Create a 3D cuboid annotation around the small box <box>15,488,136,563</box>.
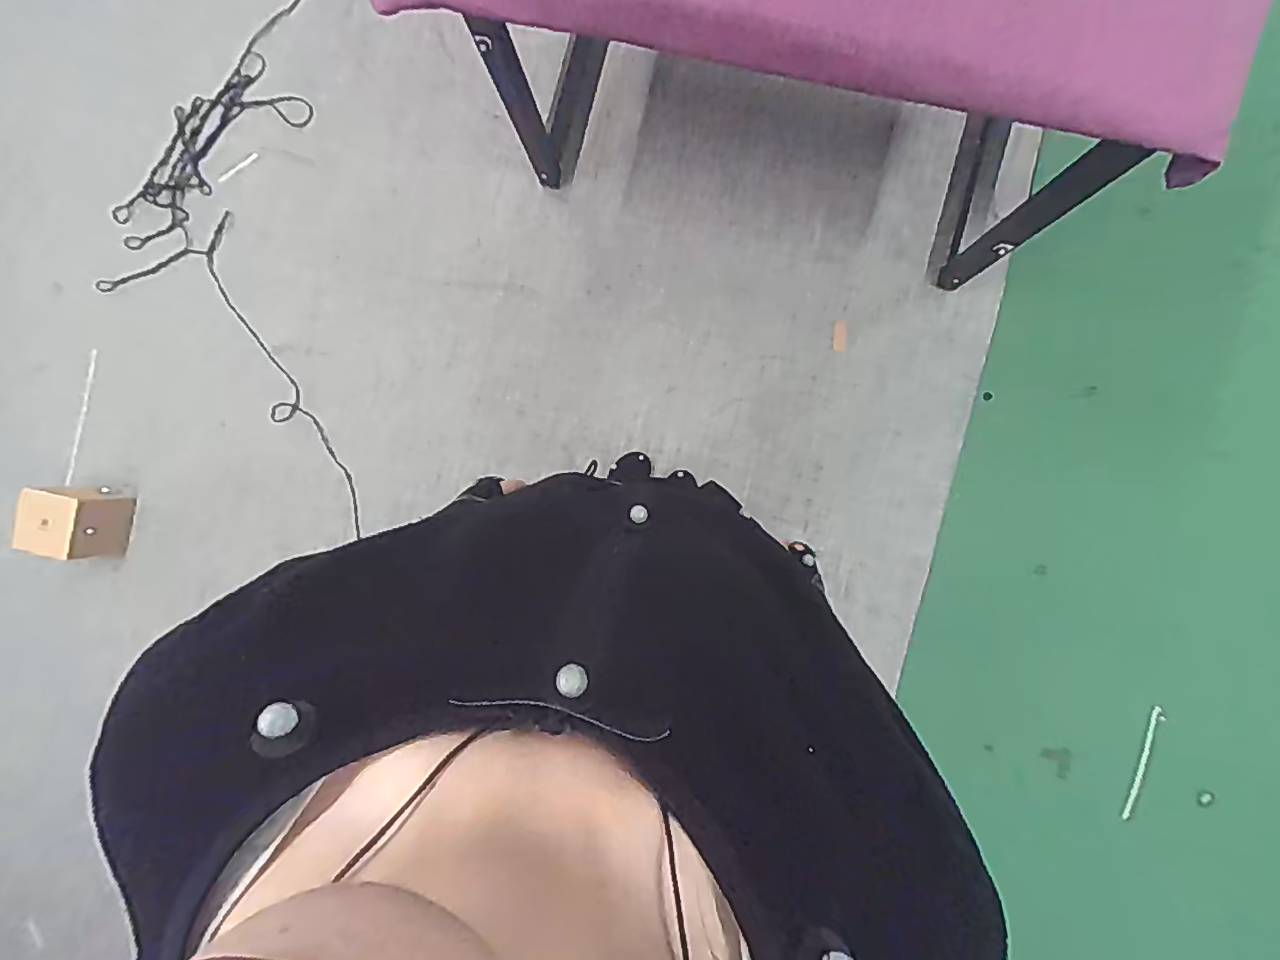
[{"bbox_3d":[-1.611,0.124,1.553,0.168,0.176,0.179,13,91,4],"label":"small box"}]
